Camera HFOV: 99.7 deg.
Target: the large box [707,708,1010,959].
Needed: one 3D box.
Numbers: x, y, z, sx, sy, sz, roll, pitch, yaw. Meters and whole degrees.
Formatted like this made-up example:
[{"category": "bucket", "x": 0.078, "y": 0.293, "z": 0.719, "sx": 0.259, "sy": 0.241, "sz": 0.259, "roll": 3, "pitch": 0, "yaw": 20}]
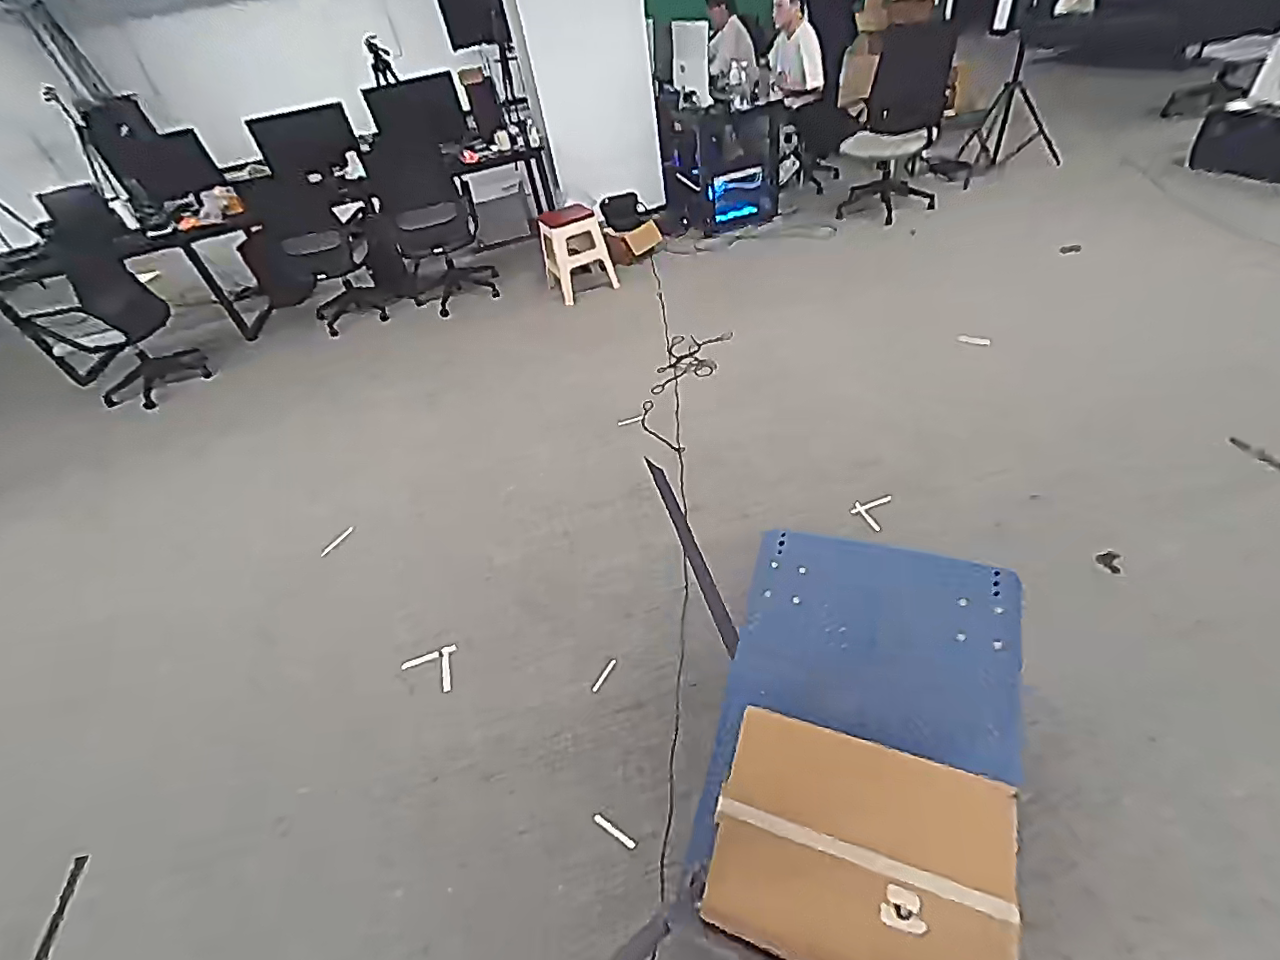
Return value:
[{"category": "large box", "x": 0.362, "y": 0.633, "z": 0.938, "sx": 0.408, "sy": 0.320, "sz": 0.320, "roll": 9, "pitch": 62, "yaw": 22}]
